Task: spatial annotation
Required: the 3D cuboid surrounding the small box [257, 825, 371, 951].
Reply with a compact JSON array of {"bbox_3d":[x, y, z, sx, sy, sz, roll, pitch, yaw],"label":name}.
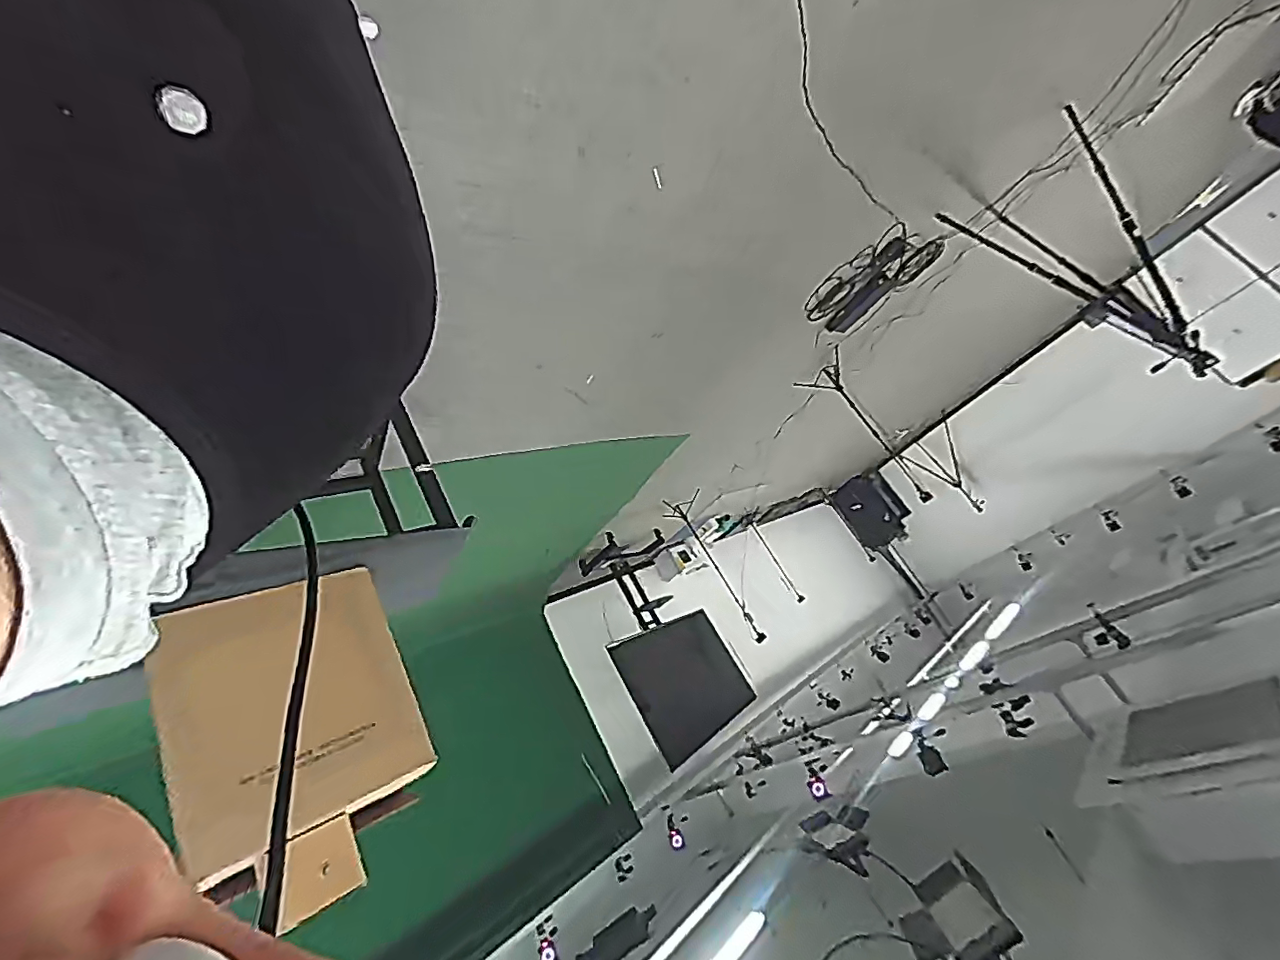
[{"bbox_3d":[-0.783,0.967,1.293,0.179,0.176,0.168,-7,149,-49],"label":"small box"}]
